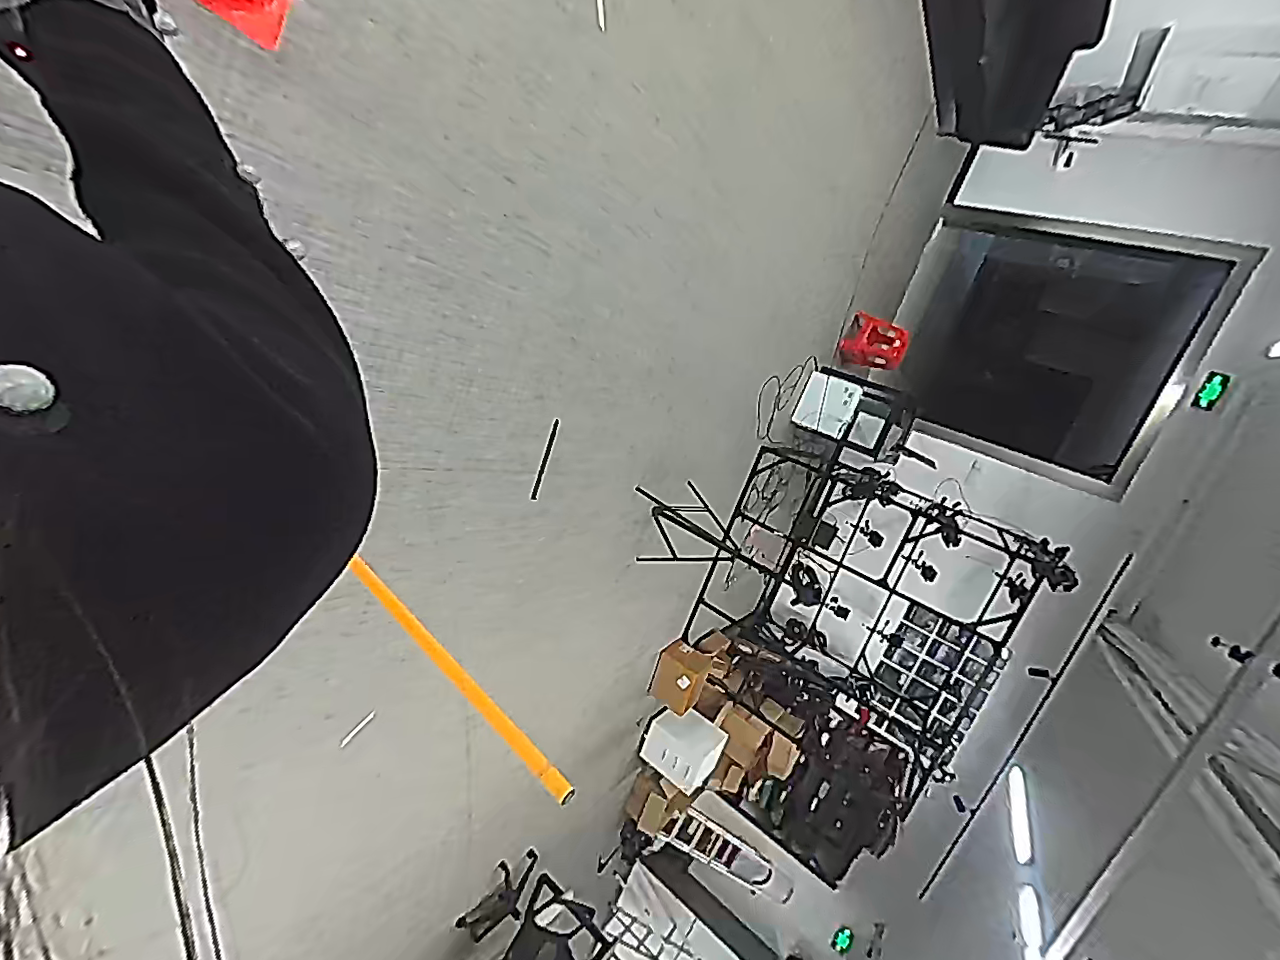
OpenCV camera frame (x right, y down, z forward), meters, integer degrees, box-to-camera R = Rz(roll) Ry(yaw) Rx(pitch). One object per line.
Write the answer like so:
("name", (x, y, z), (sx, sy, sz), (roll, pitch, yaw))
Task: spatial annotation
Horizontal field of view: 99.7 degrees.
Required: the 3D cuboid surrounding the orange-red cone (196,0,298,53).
("orange-red cone", (-0.608, -0.880, 0.918), (0.199, 0.360, 0.198), (12, 104, -61))
